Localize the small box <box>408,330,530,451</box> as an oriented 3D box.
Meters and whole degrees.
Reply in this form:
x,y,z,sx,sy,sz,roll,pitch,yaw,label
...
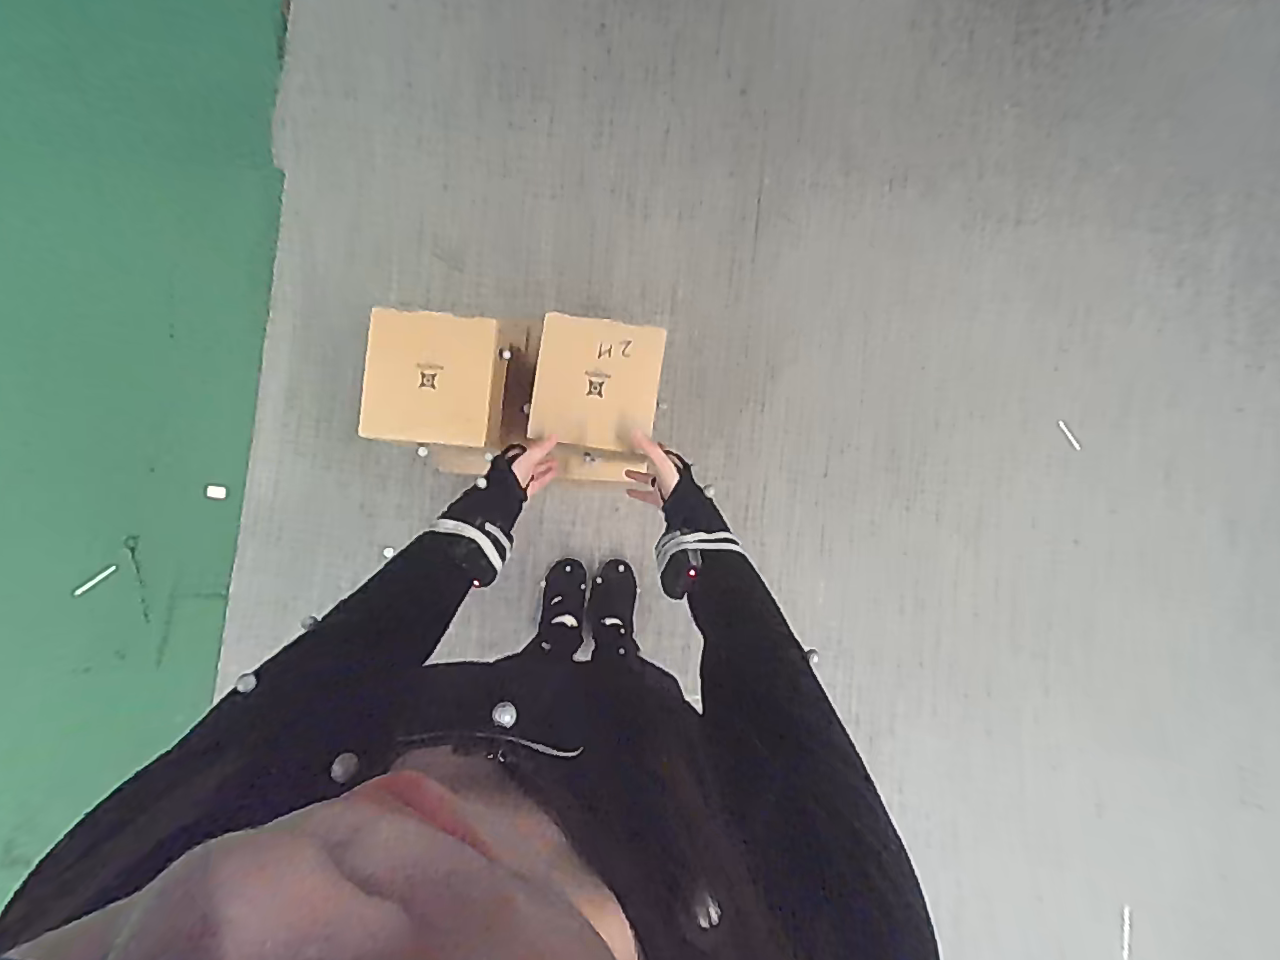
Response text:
x,y,z,sx,sy,sz,roll,pitch,yaw,label
-0.294,-0.151,0.966,0.168,0.176,0.179,6,90,-4,small box

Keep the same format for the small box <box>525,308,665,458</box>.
x,y,z,sx,sy,sz,roll,pitch,yaw,label
-0.062,-0.133,0.809,0.168,0.176,0.179,10,88,-2,small box
